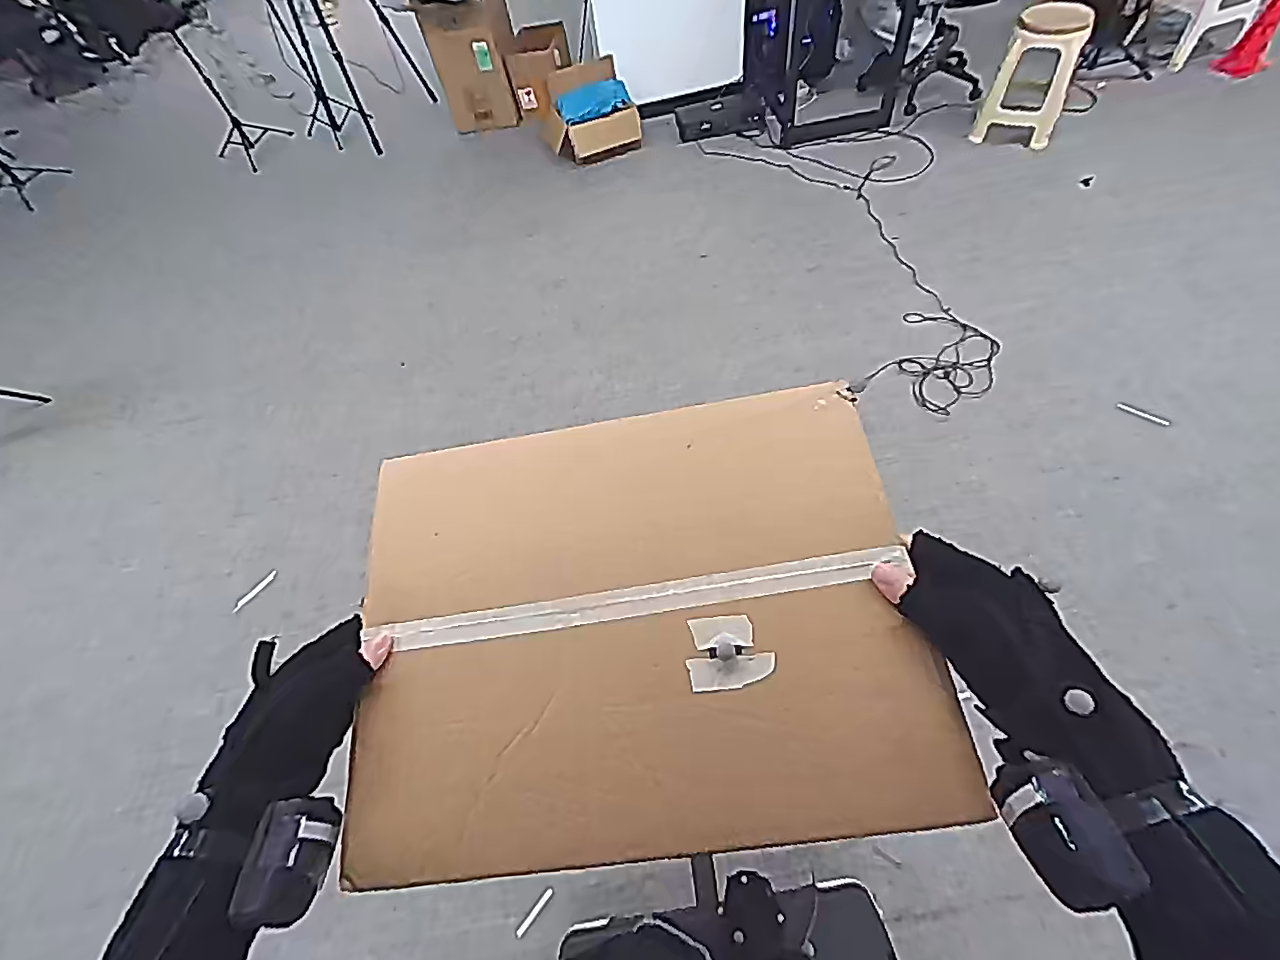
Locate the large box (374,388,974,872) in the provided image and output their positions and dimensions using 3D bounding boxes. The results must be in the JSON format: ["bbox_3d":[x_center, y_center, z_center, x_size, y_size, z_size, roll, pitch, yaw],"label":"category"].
[{"bbox_3d":[0.015,0.154,0.545,0.408,0.320,0.320,-10,65,4],"label":"large box"}]
